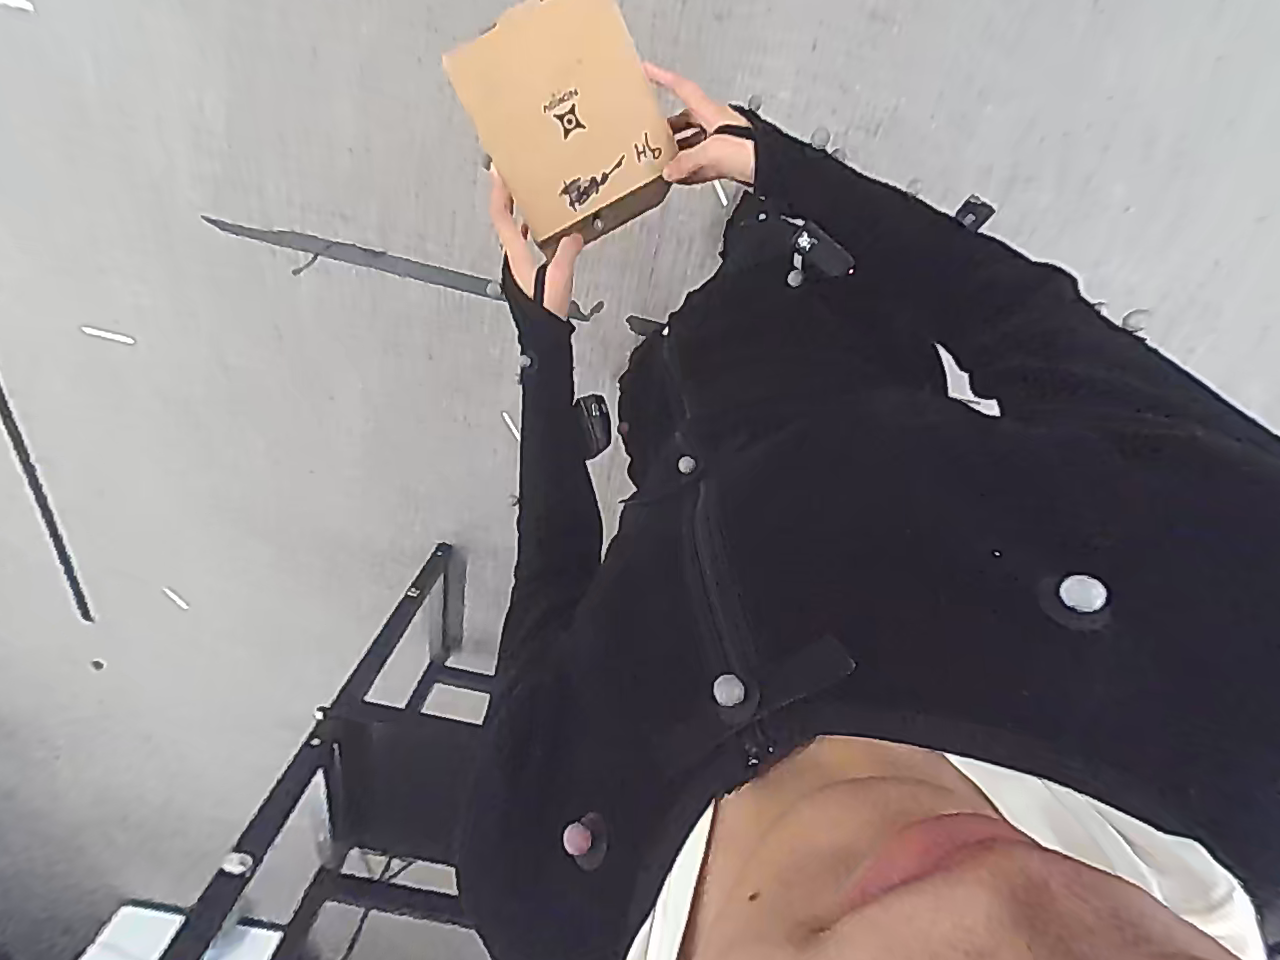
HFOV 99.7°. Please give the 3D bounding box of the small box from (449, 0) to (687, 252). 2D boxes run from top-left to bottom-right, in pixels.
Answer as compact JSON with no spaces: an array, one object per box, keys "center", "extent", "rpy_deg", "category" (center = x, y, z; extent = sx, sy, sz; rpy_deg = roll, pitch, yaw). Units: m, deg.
[{"center":[-0.070,-0.368,0.574],"extent":[0.168,0.176,0.179],"rpy_deg":[-26,107,2],"category":"small box"}]
